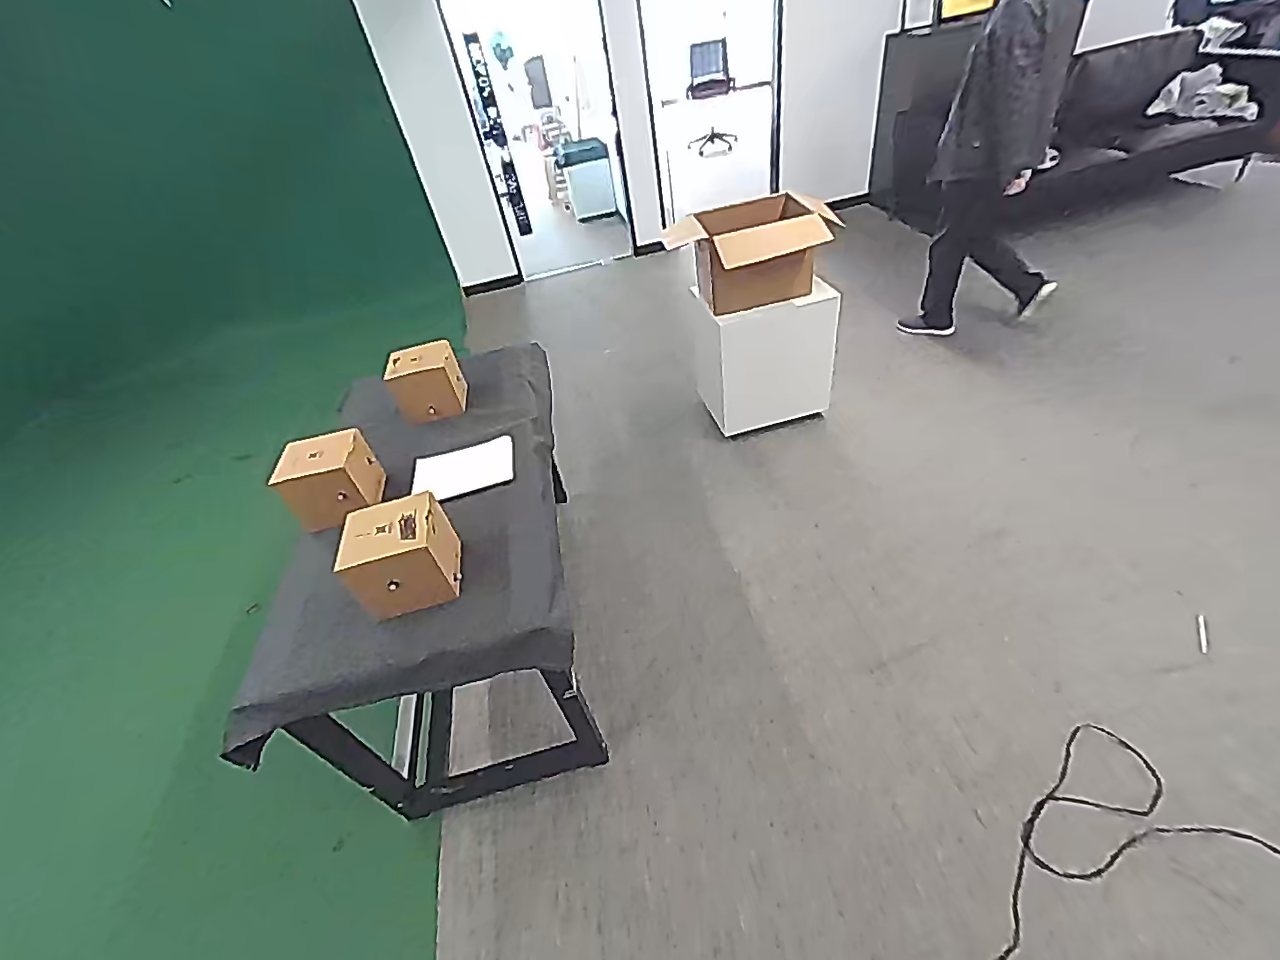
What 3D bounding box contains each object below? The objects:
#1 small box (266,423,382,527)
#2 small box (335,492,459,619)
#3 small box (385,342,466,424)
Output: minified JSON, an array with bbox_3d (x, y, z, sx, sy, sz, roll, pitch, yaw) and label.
[{"bbox_3d":[-0.763,-0.011,1.330,0.179,0.176,0.168,-15,41,-4],"label":"small box"},{"bbox_3d":[-0.484,0.157,1.109,0.179,0.176,0.168,-15,41,-5],"label":"small box"},{"bbox_3d":[-0.638,-0.292,1.635,0.179,0.176,0.168,-13,42,-4],"label":"small box"}]
